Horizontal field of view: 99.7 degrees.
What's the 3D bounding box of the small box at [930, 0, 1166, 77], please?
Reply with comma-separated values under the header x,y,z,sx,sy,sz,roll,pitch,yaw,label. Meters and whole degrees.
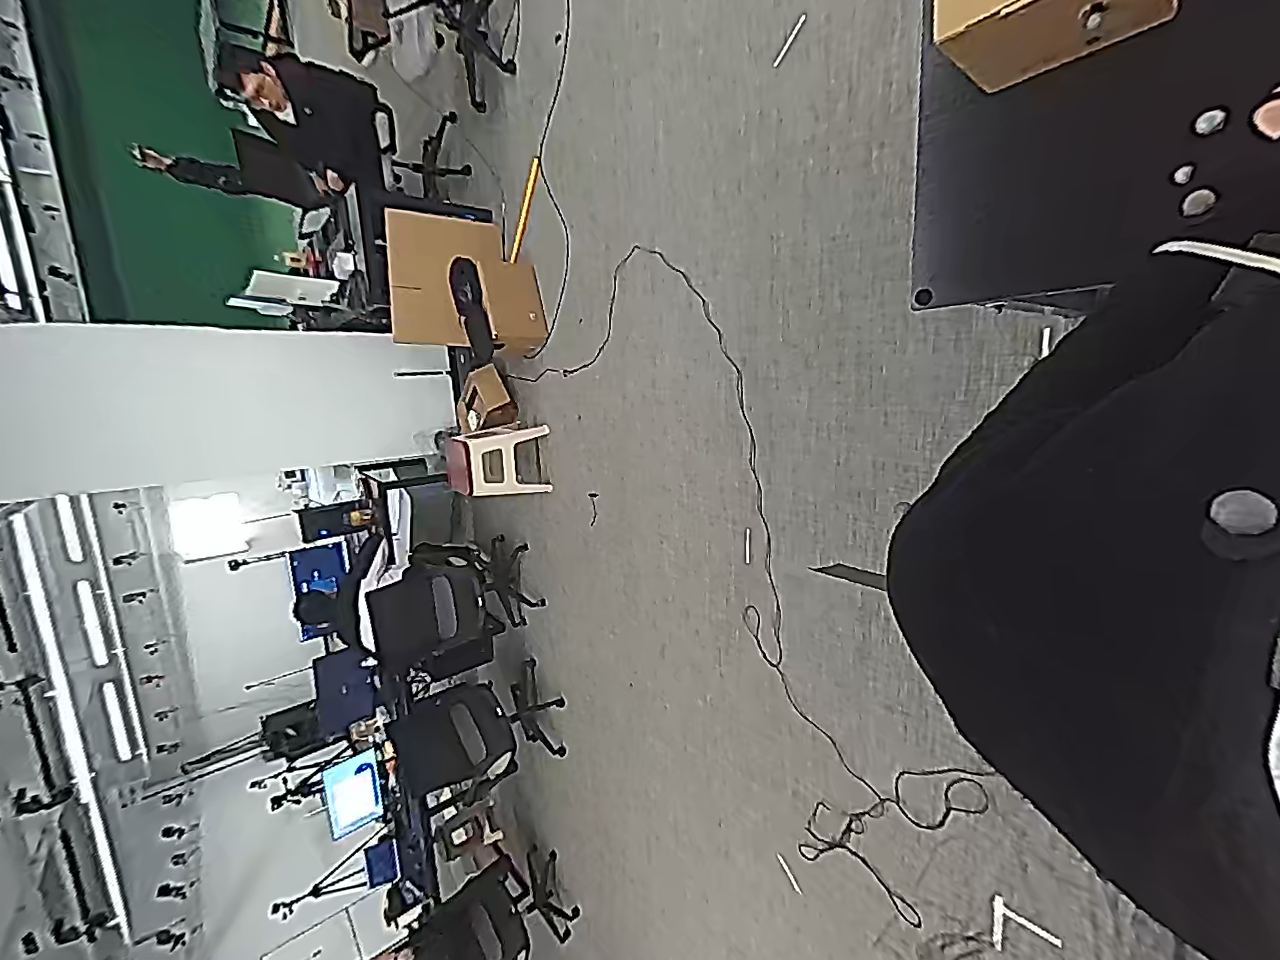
x,y,z,sx,sy,sz,roll,pitch,yaw,label
0.409,-0.541,0.536,0.168,0.176,0.179,6,103,49,small box
